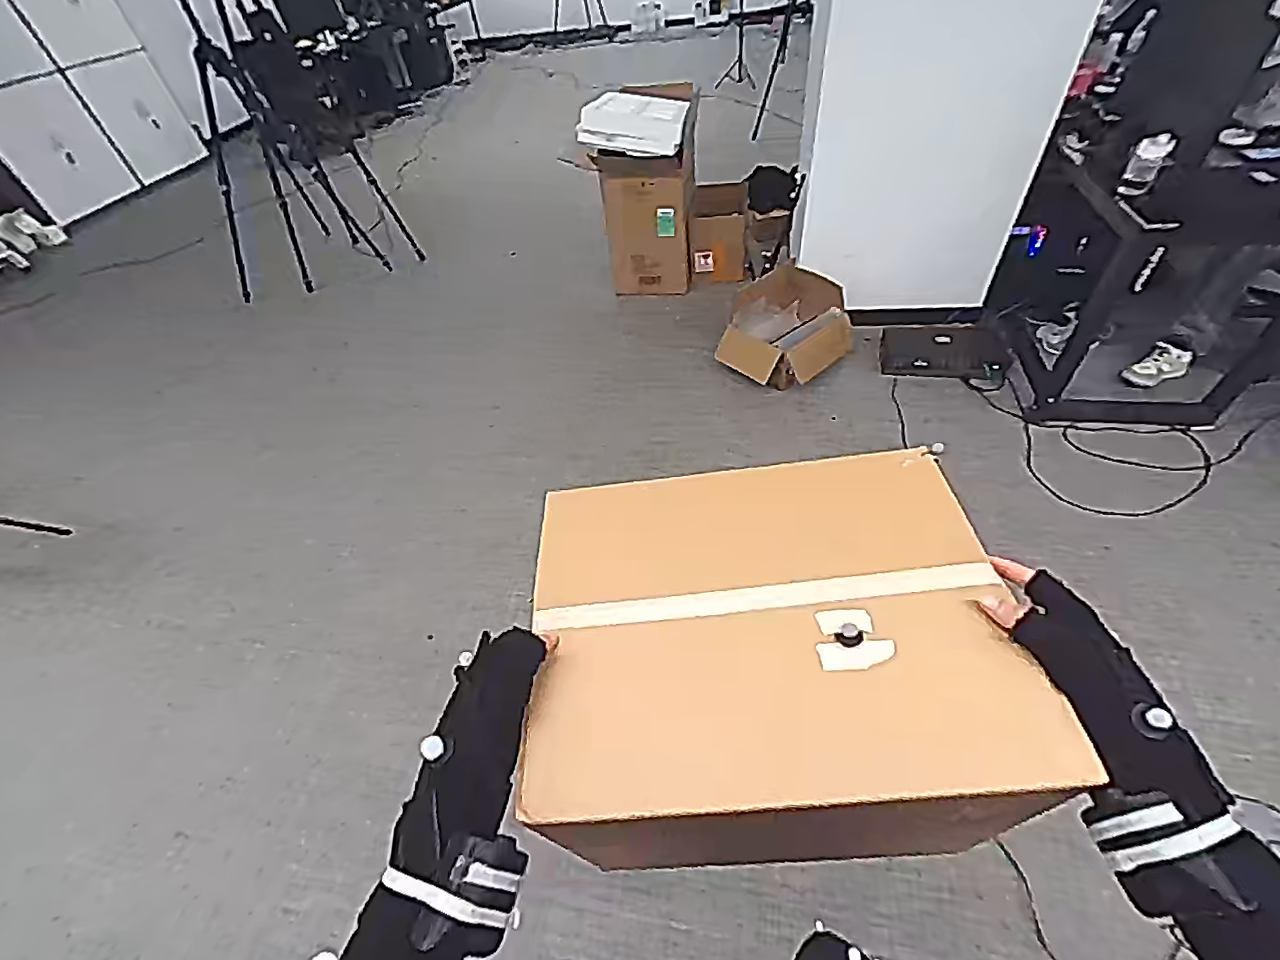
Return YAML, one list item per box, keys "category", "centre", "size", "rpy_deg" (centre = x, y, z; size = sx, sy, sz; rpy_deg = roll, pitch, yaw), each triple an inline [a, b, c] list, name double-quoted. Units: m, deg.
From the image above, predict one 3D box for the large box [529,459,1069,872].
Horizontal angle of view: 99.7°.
- category: "large box"
  centre: [0.122, 0.214, 0.602]
  size: [0.408, 0.320, 0.320]
  rpy_deg: [-7, 48, 4]
